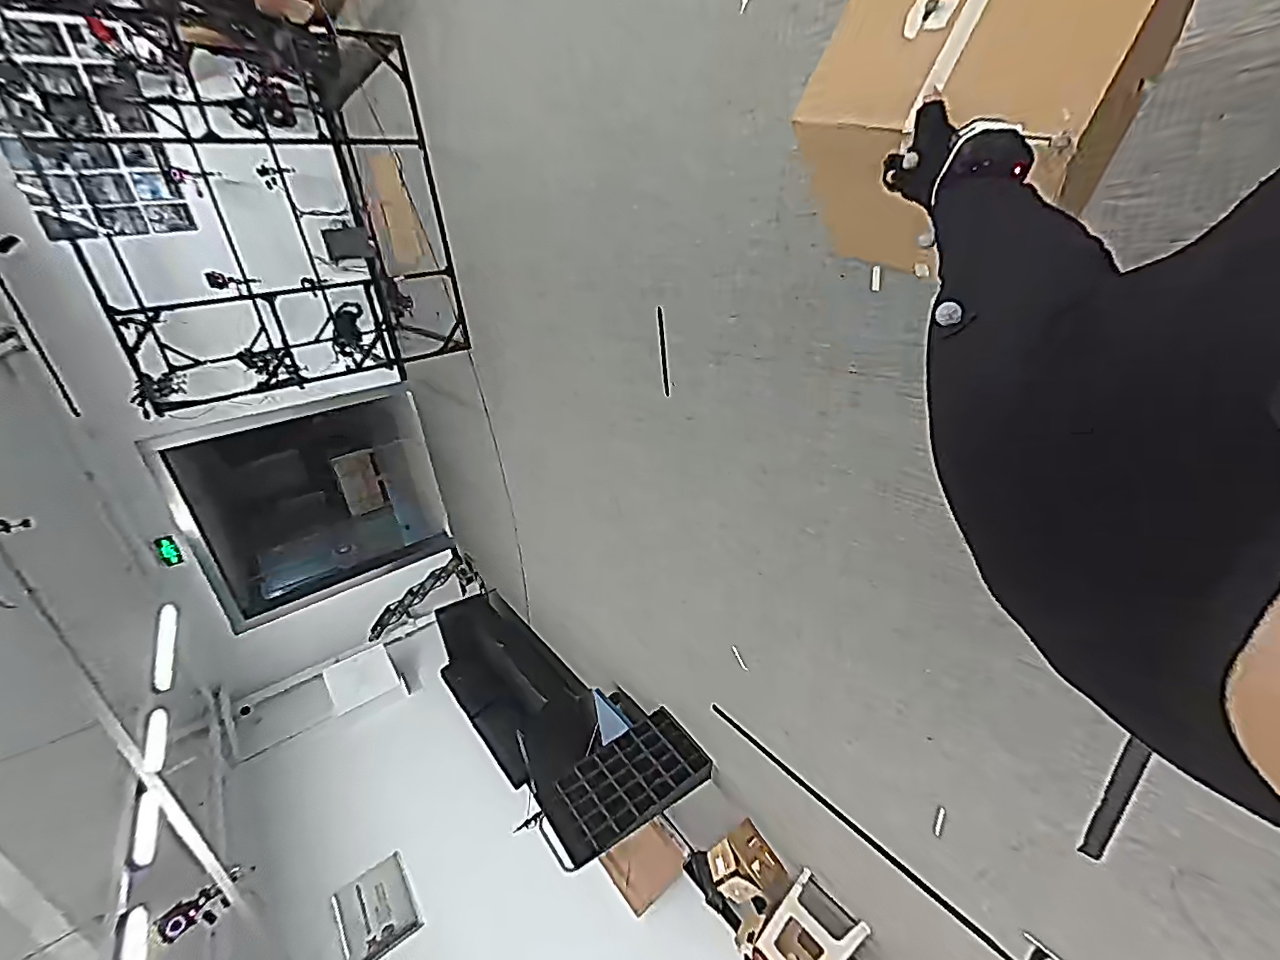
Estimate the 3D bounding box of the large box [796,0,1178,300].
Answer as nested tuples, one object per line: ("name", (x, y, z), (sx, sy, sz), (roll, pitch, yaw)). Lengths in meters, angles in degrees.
("large box", (0.473, -0.528, 0.736), (0.320, 0.320, 0.408), (29, 93, 33))
